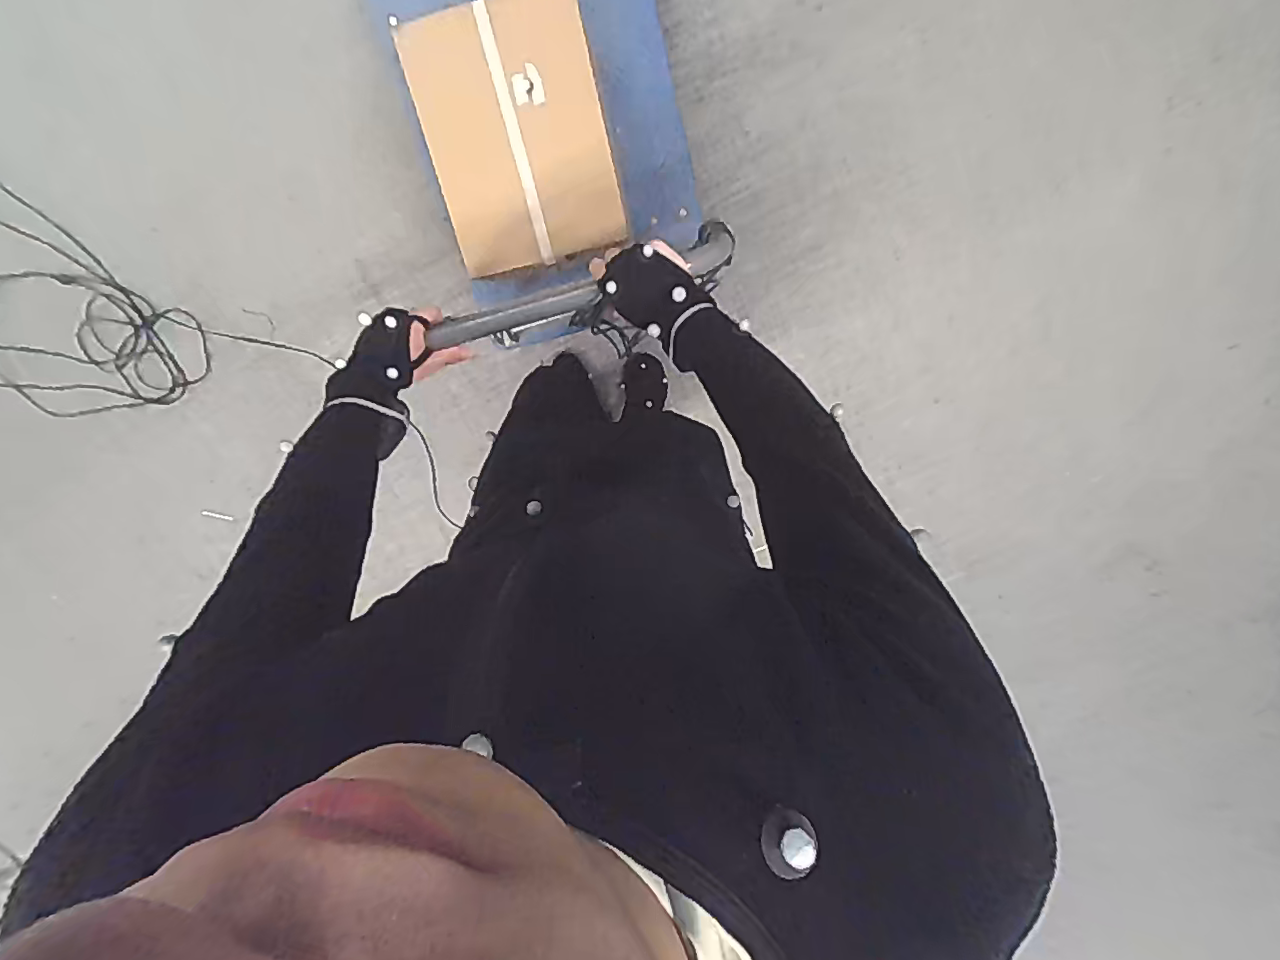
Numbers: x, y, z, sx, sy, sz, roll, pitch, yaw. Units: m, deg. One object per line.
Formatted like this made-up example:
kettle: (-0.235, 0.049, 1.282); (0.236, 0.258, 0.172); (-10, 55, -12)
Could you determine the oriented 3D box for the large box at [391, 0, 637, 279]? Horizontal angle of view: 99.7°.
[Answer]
large box: (-0.206, -0.642, 1.067); (0.320, 0.320, 0.408); (-12, 109, 6)
